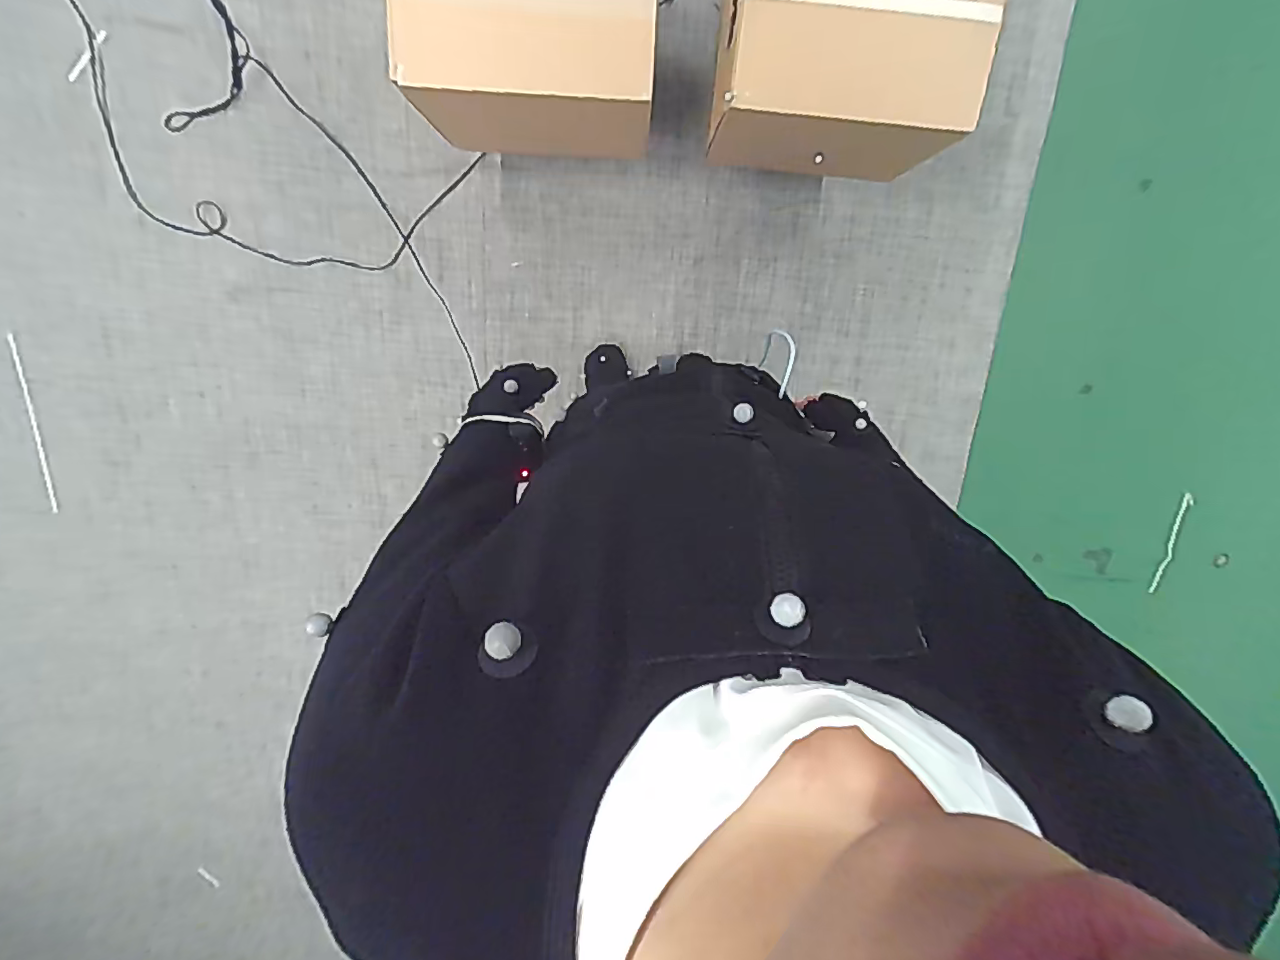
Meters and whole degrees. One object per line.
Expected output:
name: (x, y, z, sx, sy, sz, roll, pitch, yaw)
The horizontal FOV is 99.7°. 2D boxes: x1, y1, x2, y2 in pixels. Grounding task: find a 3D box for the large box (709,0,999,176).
large box: (0.358, -0.774, 0.985, 0.408, 0.320, 0.320, 5, 105, -2)
